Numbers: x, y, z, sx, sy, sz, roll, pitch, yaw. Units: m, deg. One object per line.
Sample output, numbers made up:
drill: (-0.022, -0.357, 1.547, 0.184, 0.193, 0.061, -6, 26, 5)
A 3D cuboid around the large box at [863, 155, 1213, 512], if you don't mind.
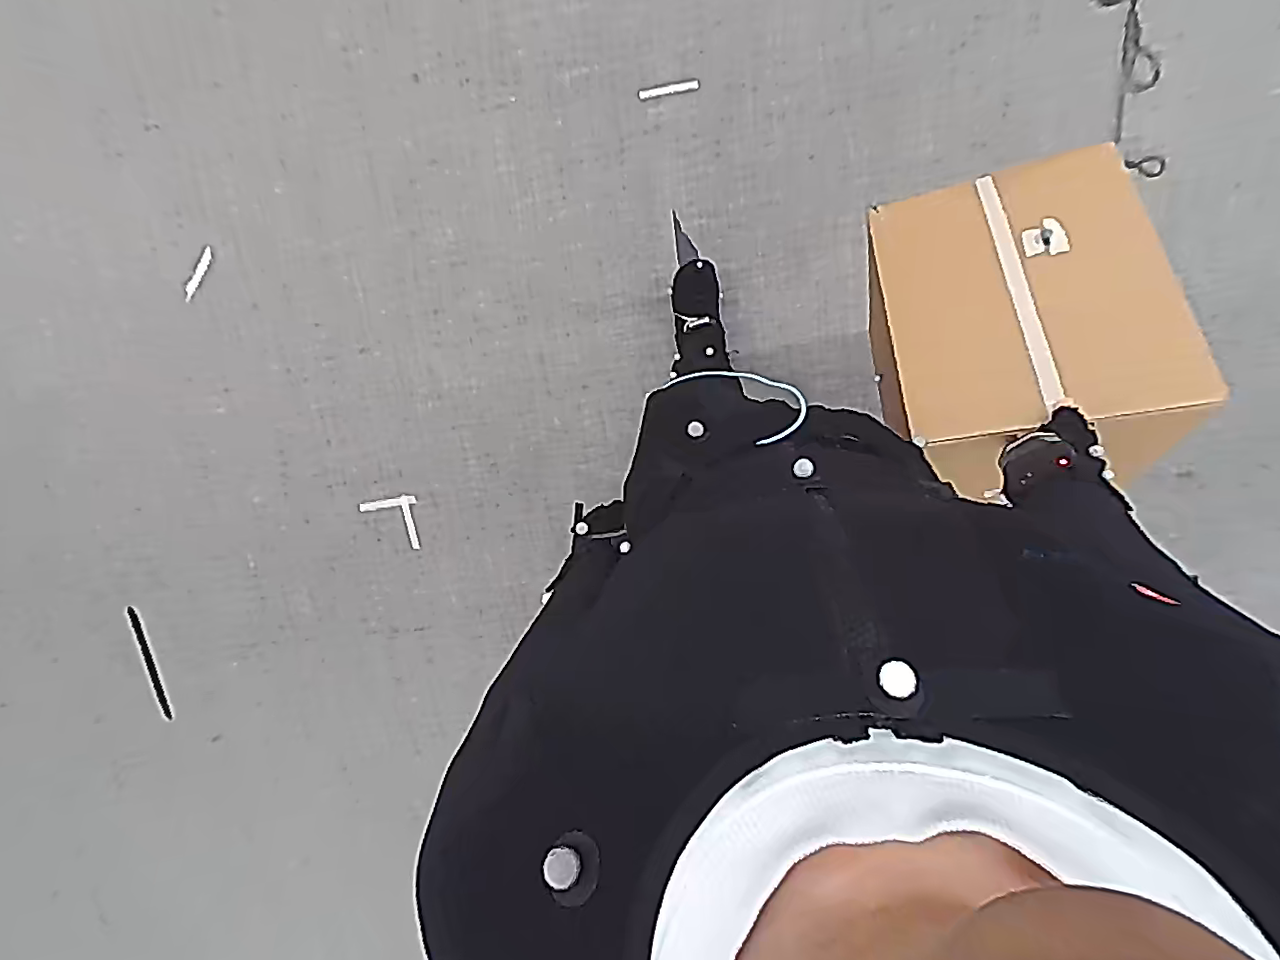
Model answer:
large box: (0.552, -0.200, 0.857, 0.320, 0.320, 0.408, -8, 65, 18)
